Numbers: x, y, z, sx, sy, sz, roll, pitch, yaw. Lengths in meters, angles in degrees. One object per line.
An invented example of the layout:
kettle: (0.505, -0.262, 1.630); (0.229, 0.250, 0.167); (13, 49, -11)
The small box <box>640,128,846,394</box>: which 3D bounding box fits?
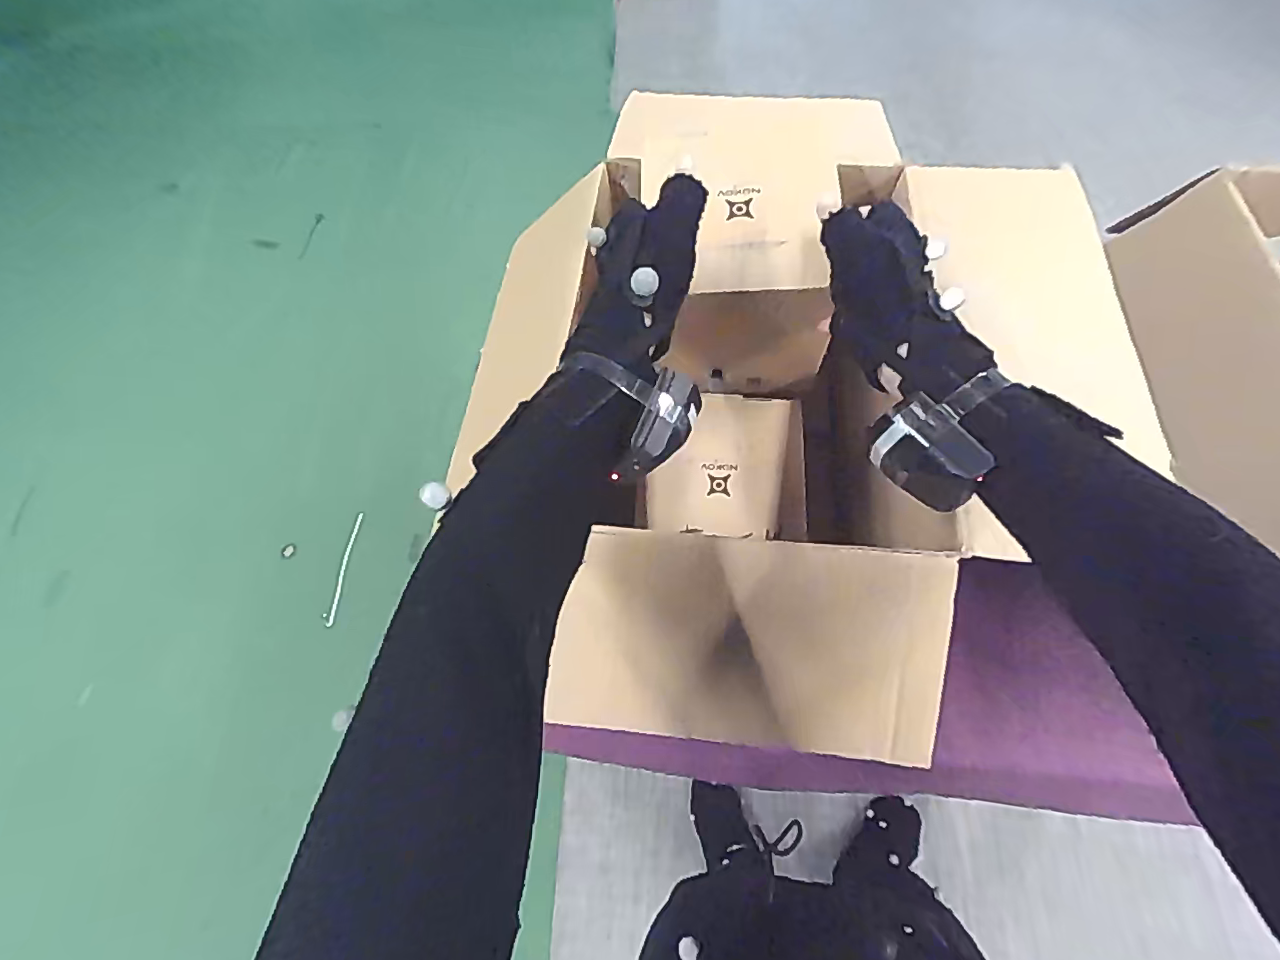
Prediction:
small box: (0.091, -0.203, 0.532); (0.168, 0.176, 0.179); (-1, 70, 7)
